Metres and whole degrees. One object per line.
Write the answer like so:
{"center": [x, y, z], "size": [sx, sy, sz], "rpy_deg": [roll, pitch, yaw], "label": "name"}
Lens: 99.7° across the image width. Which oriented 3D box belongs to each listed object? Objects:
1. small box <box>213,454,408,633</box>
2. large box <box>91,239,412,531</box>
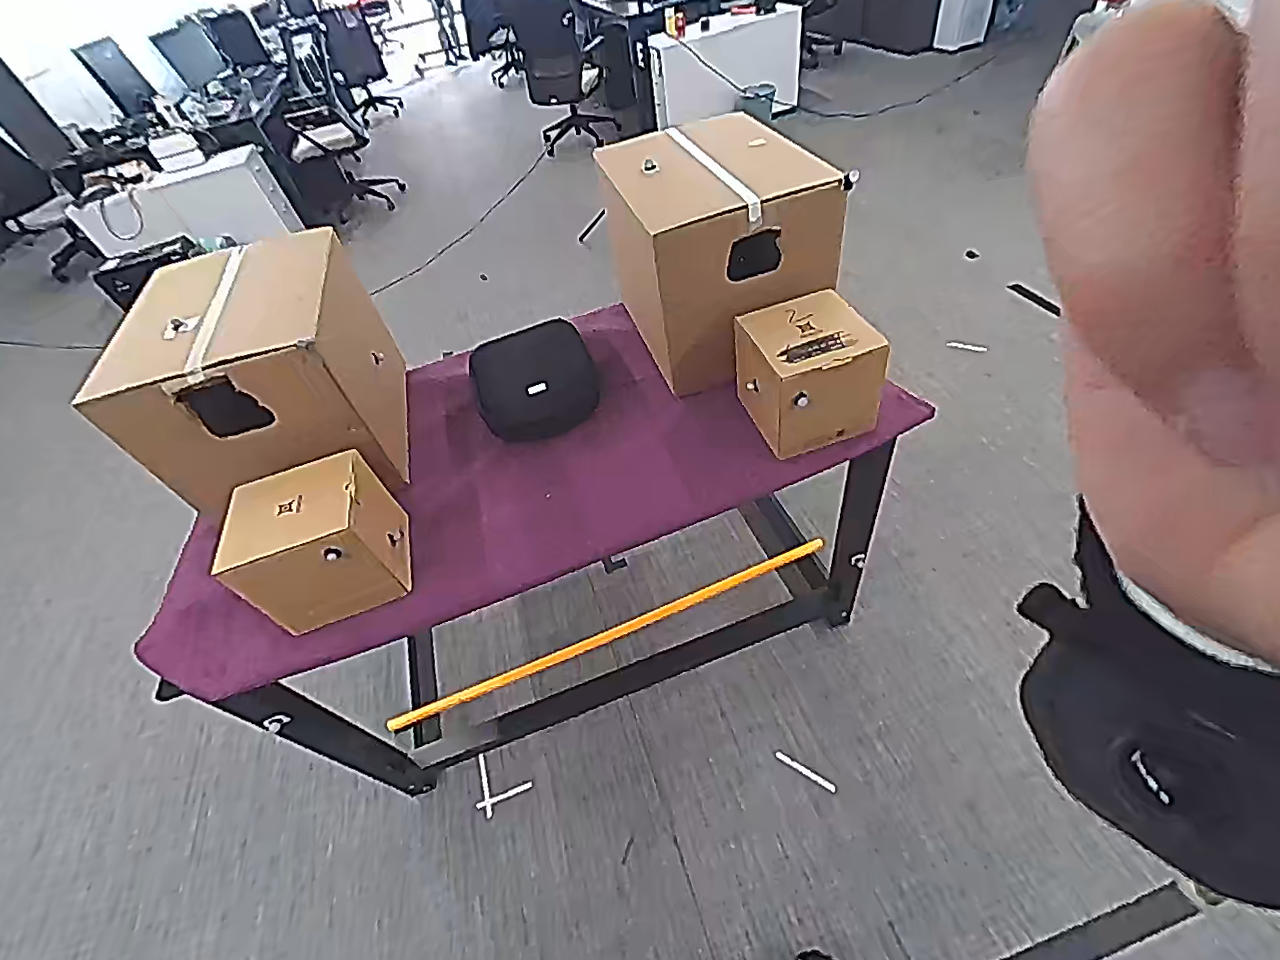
{"center": [-0.467, 0.097, 0.798], "size": [0.179, 0.176, 0.168], "rpy_deg": [-20, 47, -7], "label": "small box"}
{"center": [-0.632, -0.168, 0.970], "size": [0.320, 0.320, 0.408], "rpy_deg": [-19, 50, -6], "label": "large box"}
